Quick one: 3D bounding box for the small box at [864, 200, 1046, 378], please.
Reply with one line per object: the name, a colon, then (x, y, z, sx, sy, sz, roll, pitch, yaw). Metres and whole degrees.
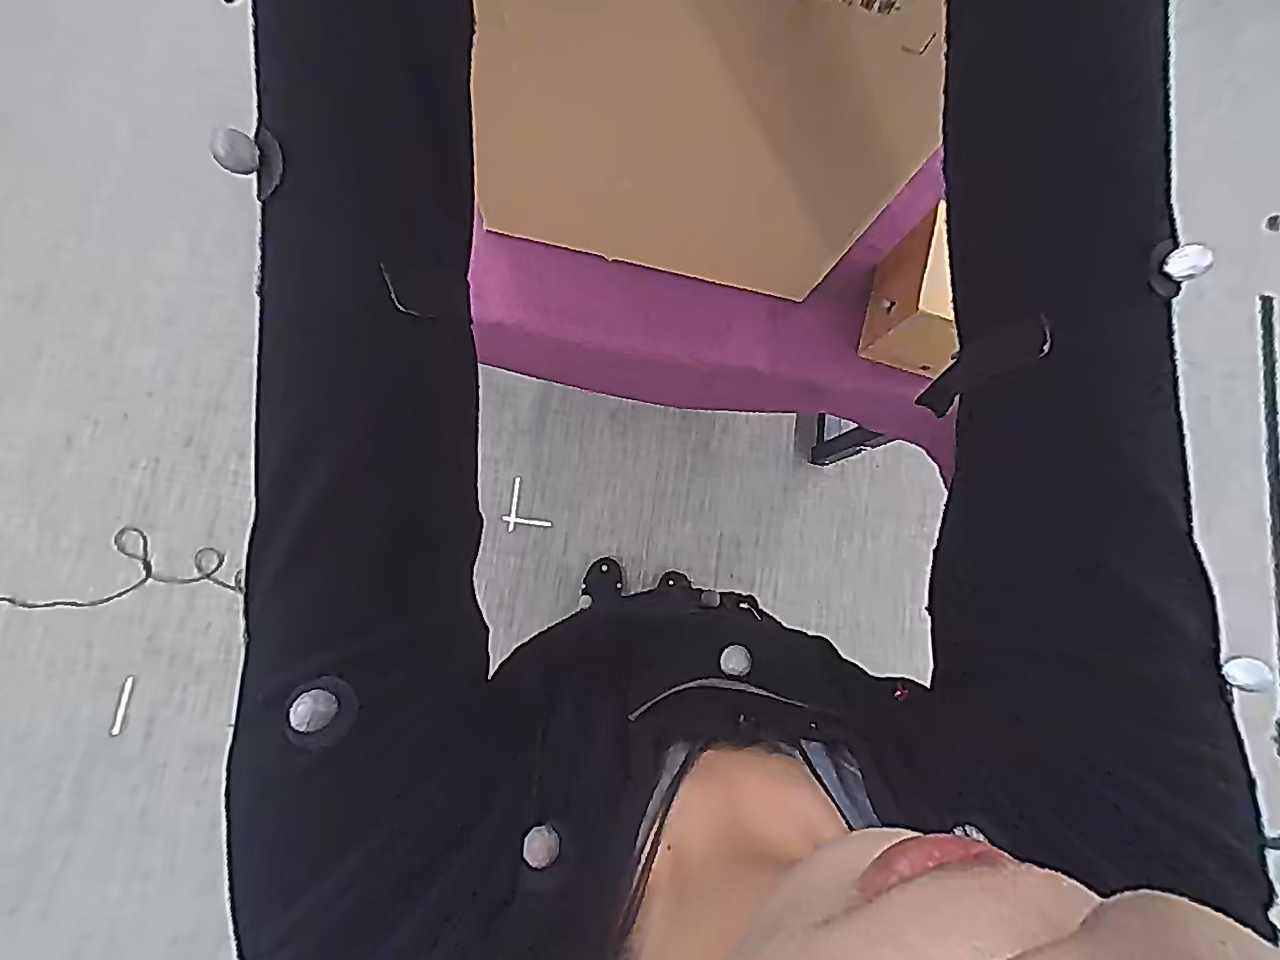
small box: (0.467, -0.277, 0.825, 0.168, 0.176, 0.179, 16, 79, -4)
